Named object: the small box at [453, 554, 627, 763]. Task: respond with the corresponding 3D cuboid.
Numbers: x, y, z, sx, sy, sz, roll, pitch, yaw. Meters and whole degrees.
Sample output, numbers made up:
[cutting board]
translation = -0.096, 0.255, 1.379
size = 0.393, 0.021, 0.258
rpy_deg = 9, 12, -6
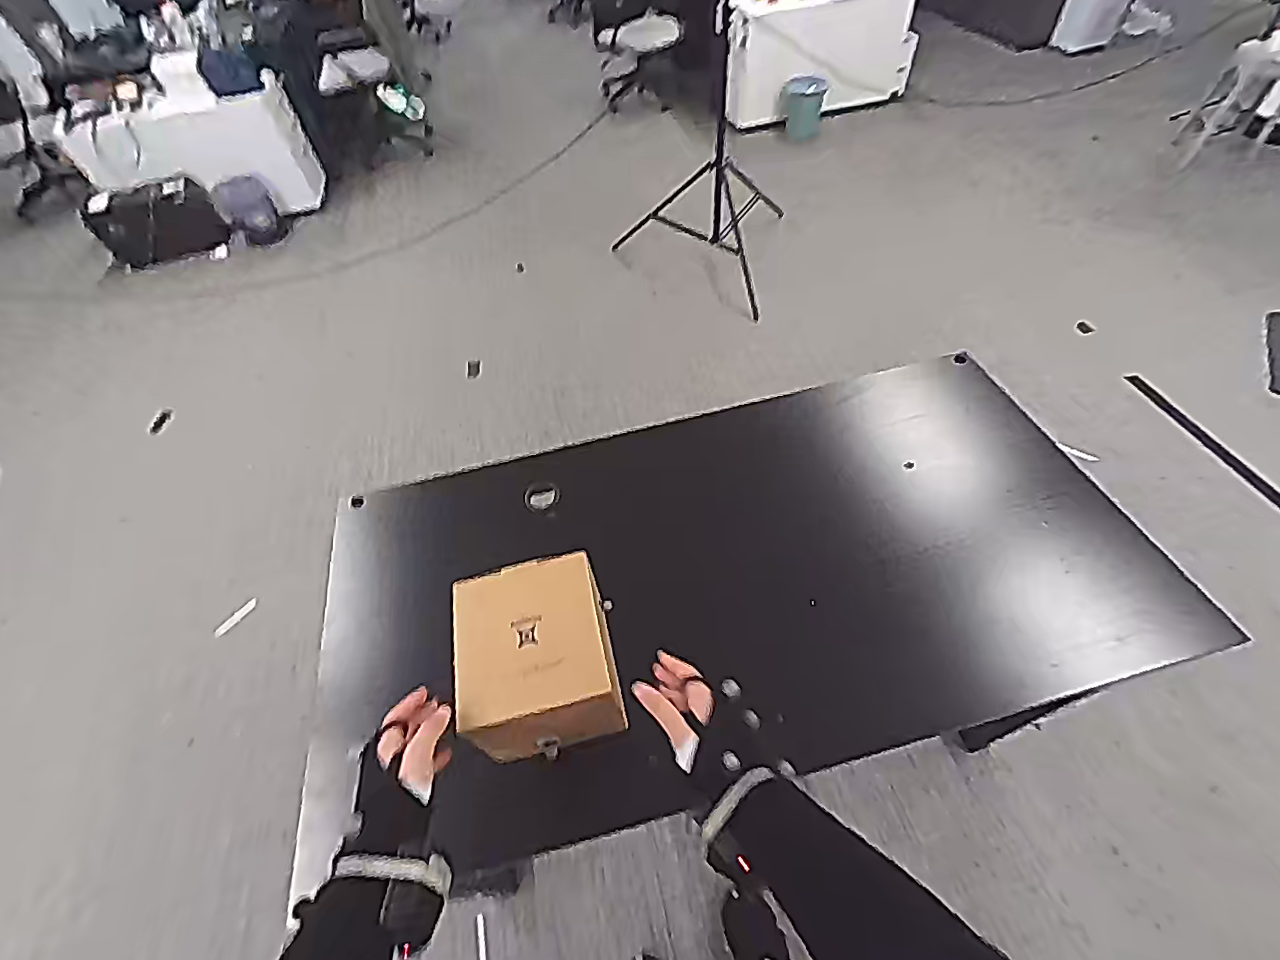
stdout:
[small box]
translation = -0.119, 0.221, 0.664
size = 0.168, 0.176, 0.179
rpy_deg = -15, 53, -4
